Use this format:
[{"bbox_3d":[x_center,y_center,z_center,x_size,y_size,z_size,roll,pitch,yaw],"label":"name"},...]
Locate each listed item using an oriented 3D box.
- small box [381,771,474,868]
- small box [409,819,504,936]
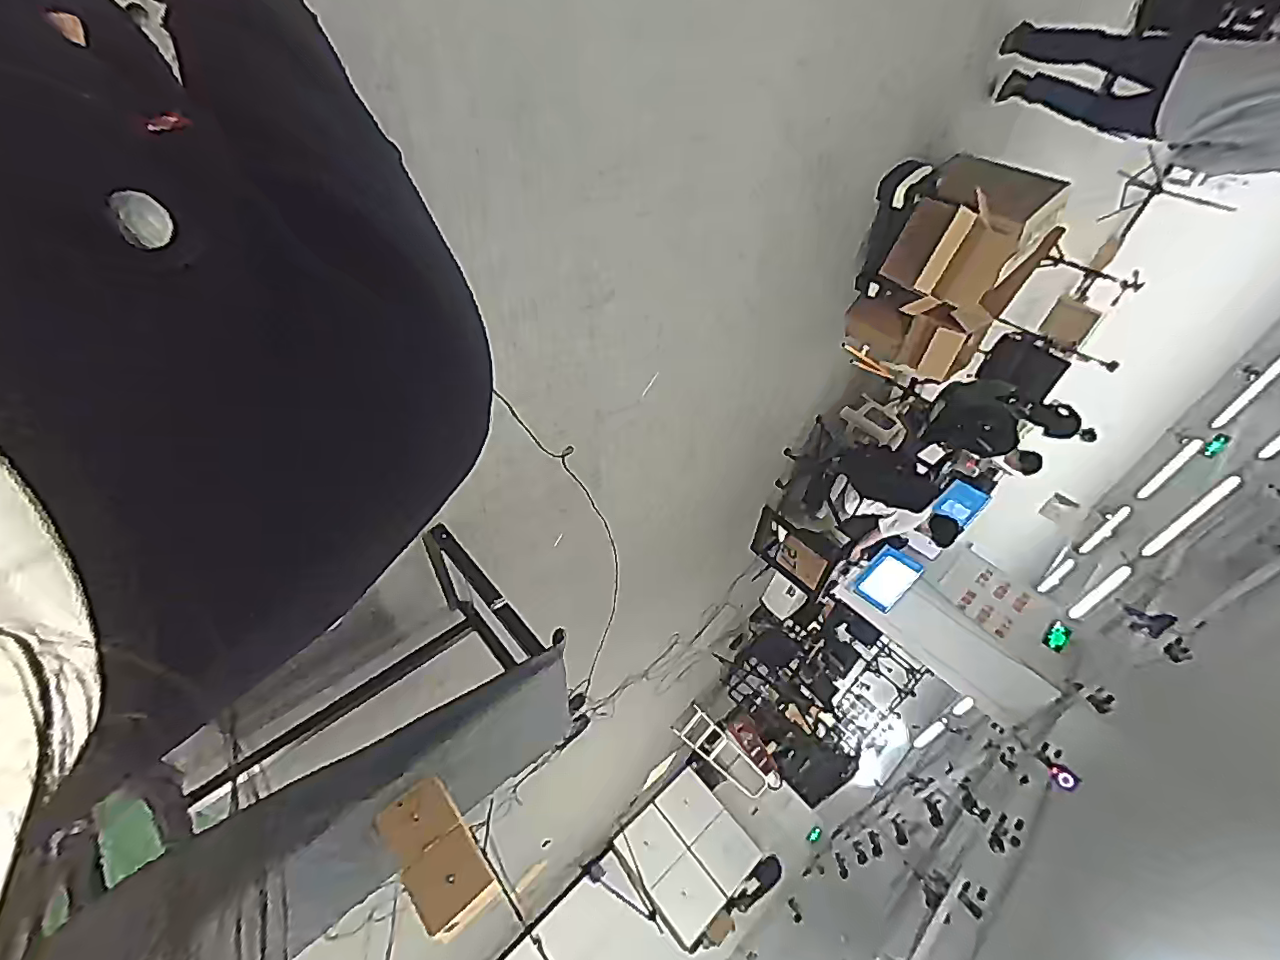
[{"bbox_3d":[-0.593,0.954,1.514,0.168,0.176,0.179,-32,146,-29],"label":"small box"},{"bbox_3d":[-0.487,1.047,1.429,0.179,0.176,0.168,-33,147,-30],"label":"small box"}]
